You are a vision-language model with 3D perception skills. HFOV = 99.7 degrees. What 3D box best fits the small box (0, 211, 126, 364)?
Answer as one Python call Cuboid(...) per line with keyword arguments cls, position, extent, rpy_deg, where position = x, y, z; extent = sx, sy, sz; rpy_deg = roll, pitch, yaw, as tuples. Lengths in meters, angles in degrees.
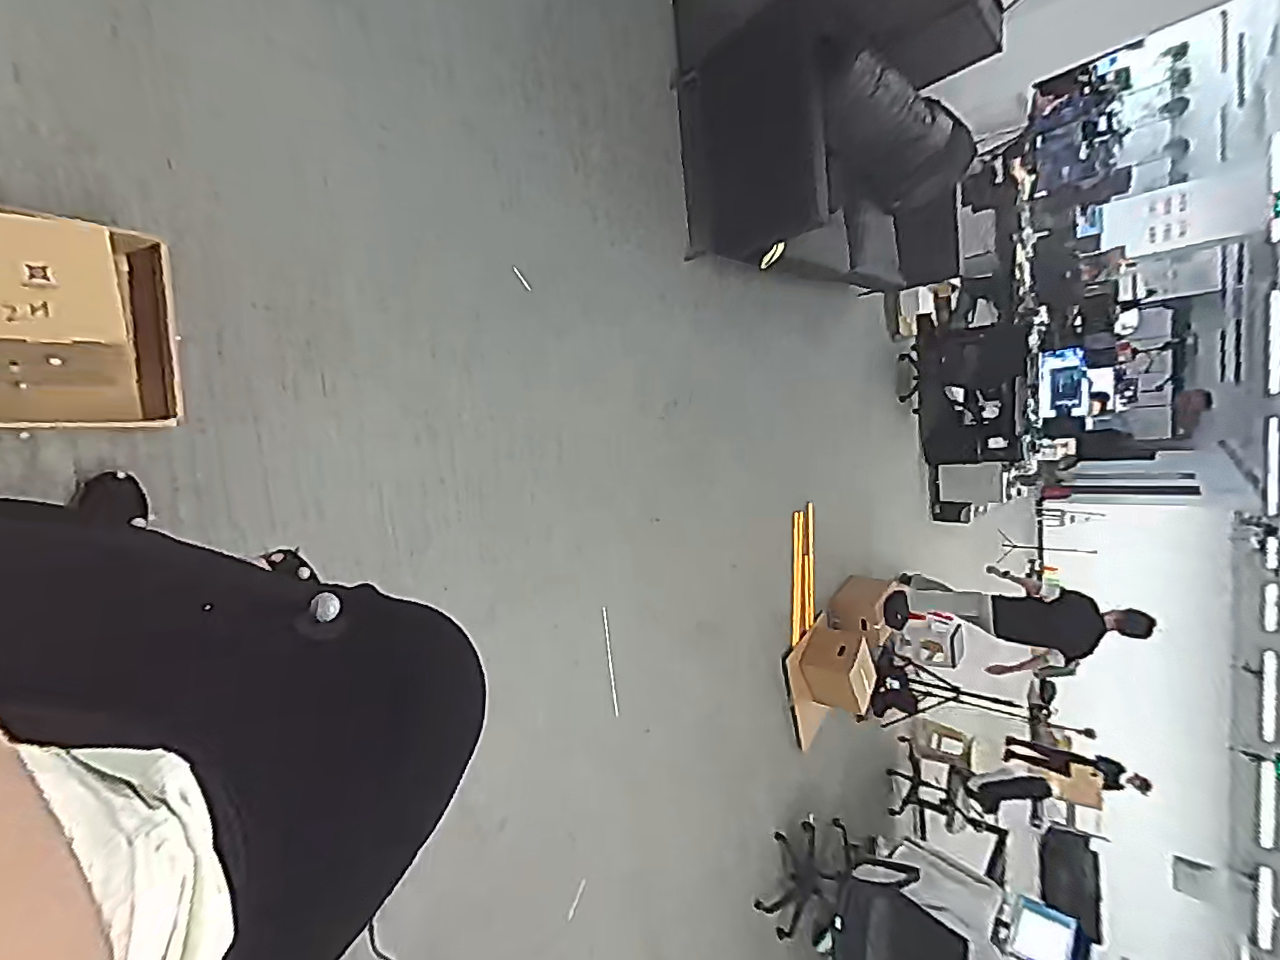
Cuboid(cls="small box", position=(-0.896, -0.278, 0.806), extent=(0.168, 0.176, 0.179), rpy_deg=(-10, 96, -44))
